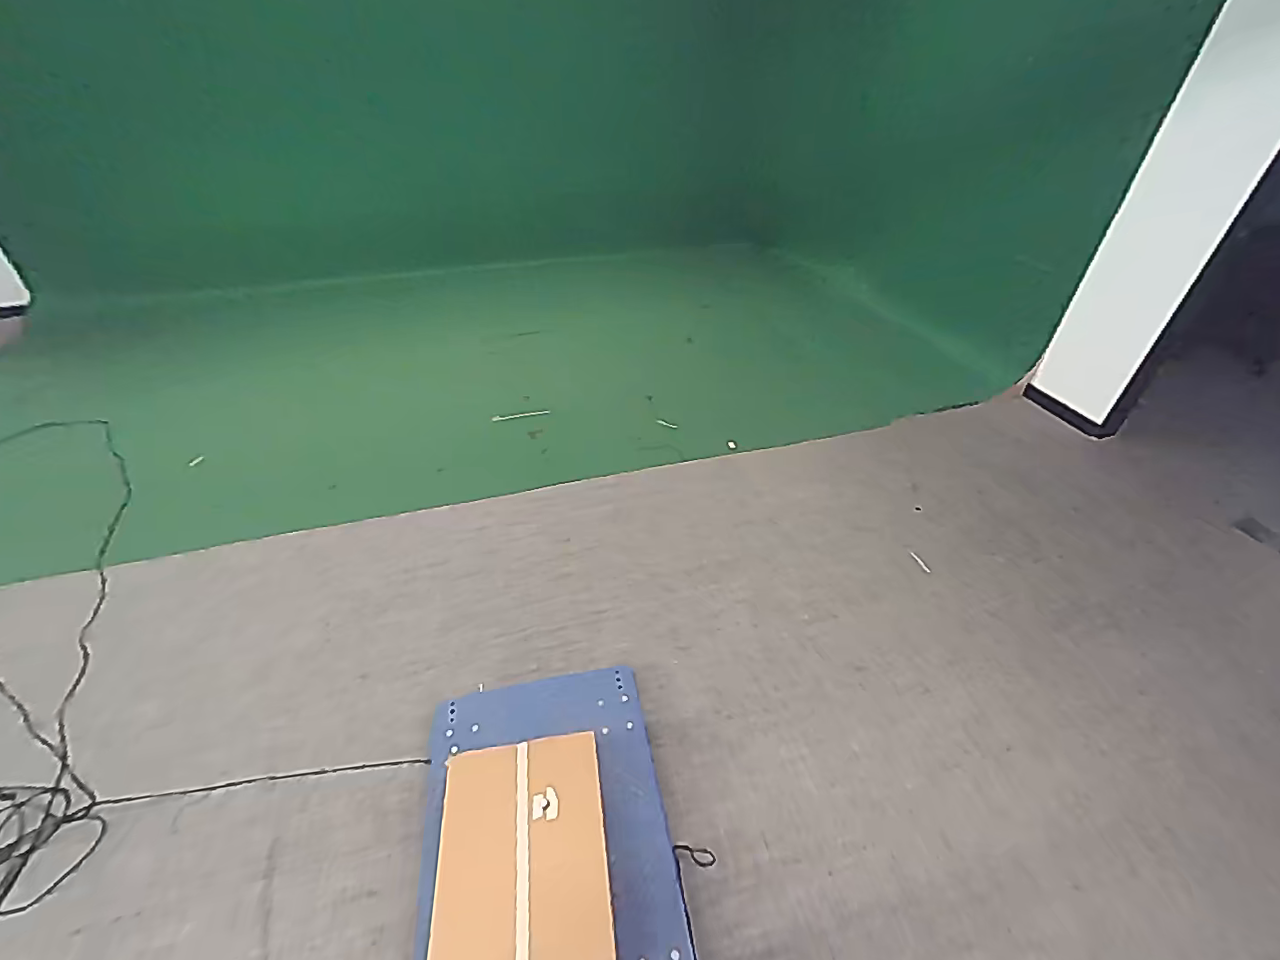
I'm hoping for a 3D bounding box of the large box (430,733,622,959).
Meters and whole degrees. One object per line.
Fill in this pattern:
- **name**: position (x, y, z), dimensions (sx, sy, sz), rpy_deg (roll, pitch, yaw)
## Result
- **large box**: position (-0.215, 0.808, 1.103), dimensions (0.320, 0.320, 0.408), rpy_deg (-6, 40, -7)
